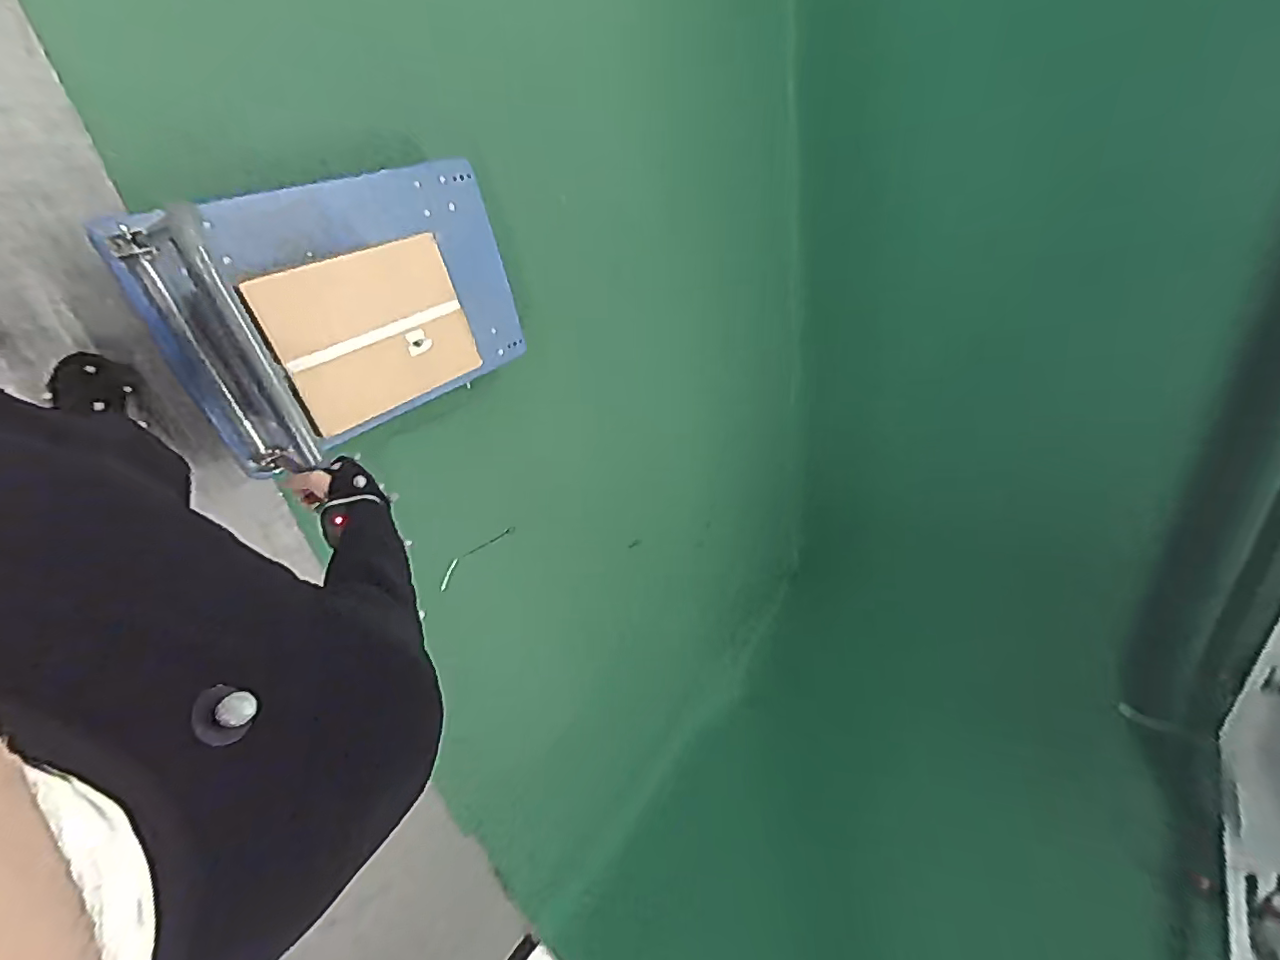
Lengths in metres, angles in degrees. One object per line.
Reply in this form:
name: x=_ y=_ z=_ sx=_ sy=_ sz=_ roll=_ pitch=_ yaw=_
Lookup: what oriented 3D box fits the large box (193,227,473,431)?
large box: x=-0.676 y=-0.350 z=1.230 sx=0.408 sy=0.320 sz=0.320 roll=-39 pitch=129 yaw=-37
